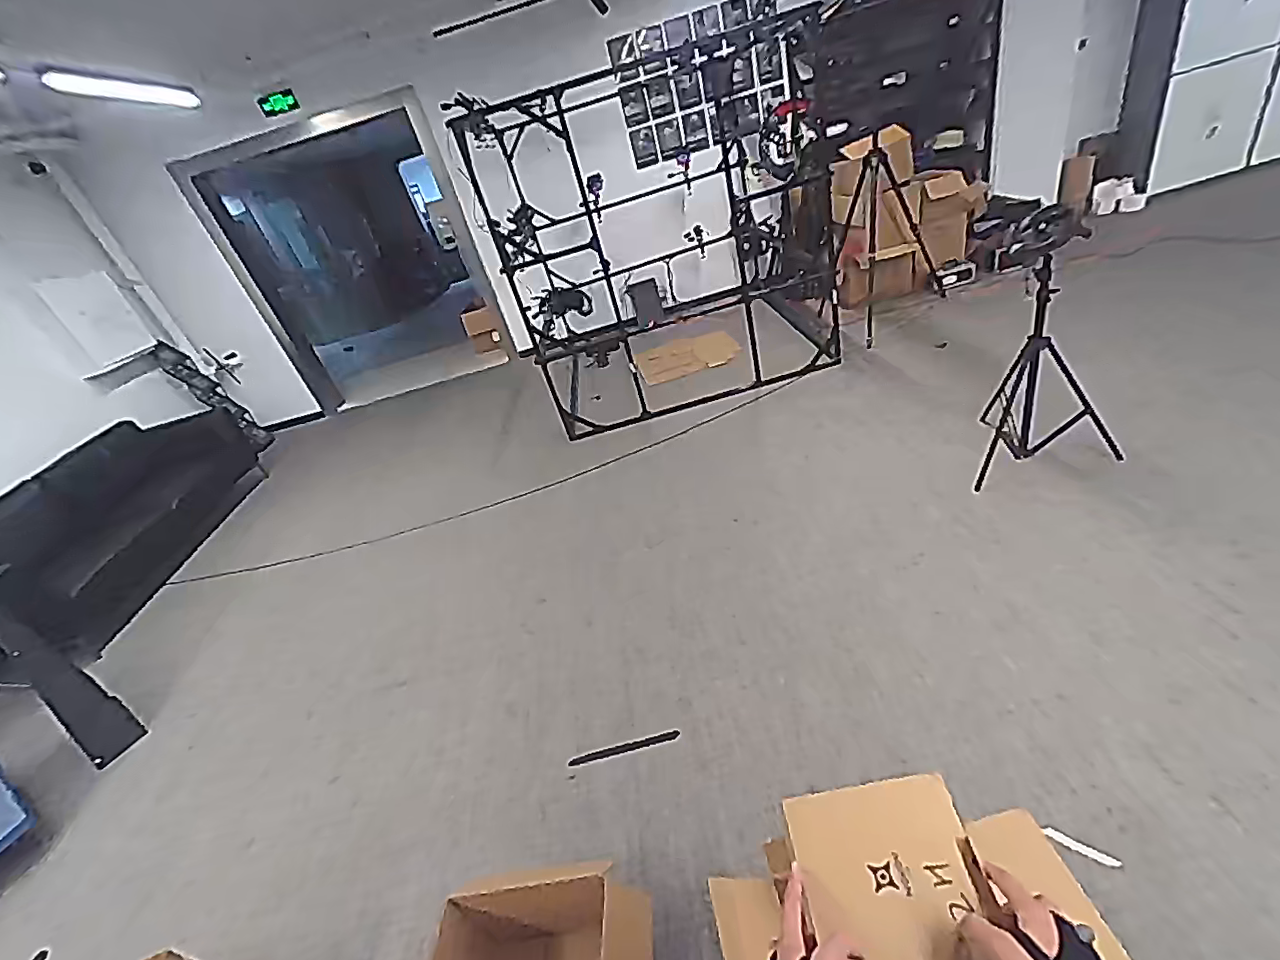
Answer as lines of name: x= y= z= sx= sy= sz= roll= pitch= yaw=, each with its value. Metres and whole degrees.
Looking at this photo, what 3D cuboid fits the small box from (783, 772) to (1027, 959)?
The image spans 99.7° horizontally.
small box: x=0.265 y=0.441 z=0.585 sx=0.179 sy=0.176 sz=0.168 roll=-12 pitch=47 yaw=4
